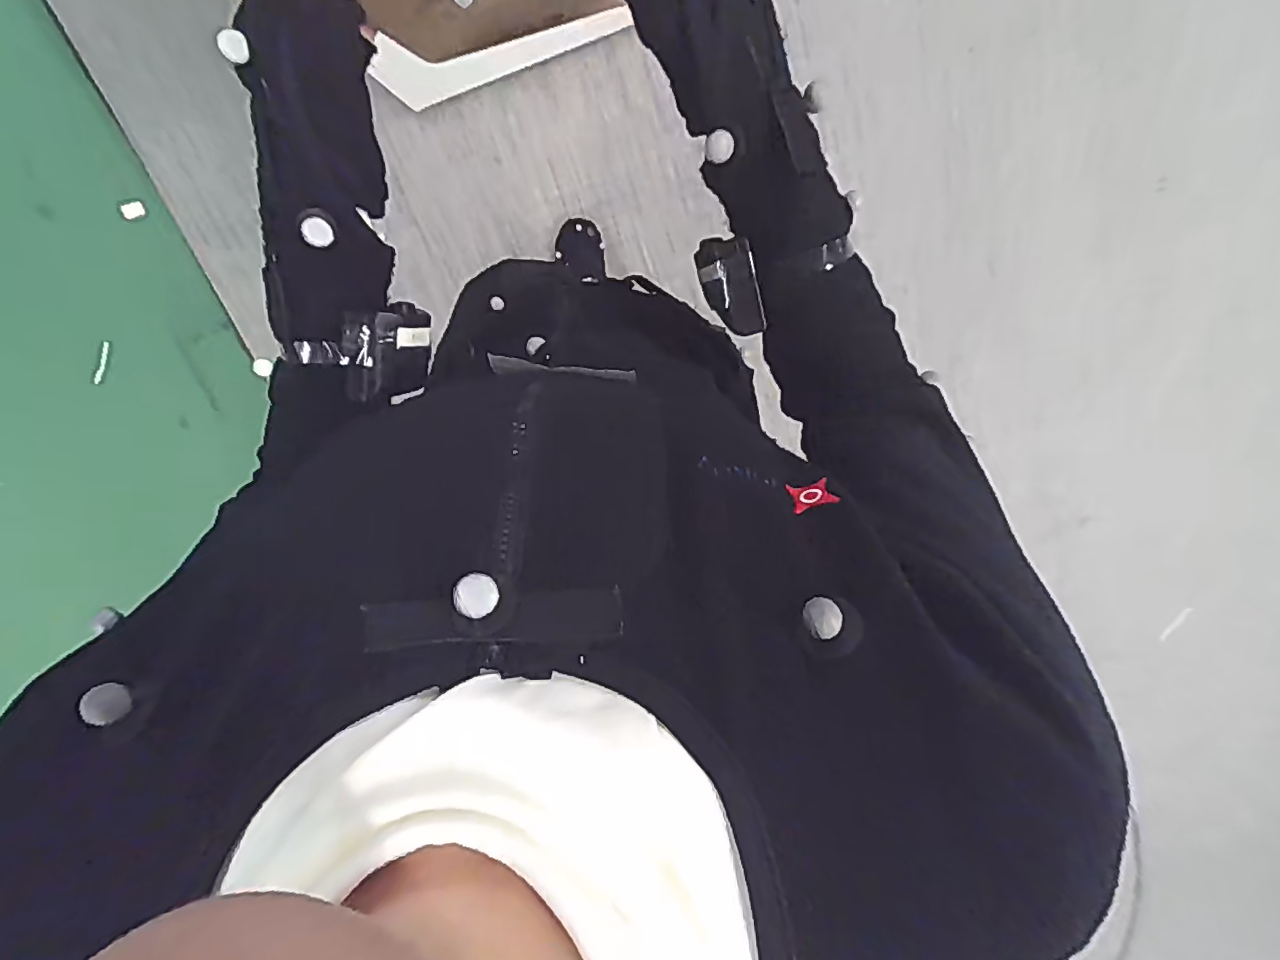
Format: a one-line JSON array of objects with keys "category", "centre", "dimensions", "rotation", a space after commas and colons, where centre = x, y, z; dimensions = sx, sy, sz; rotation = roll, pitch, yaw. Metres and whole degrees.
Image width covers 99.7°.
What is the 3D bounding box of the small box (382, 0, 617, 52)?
[{"category": "small box", "centre": [-0.099, -0.375, 0.293], "dimensions": [0.168, 0.176, 0.179], "rotation": [-12, 118, 6]}]
